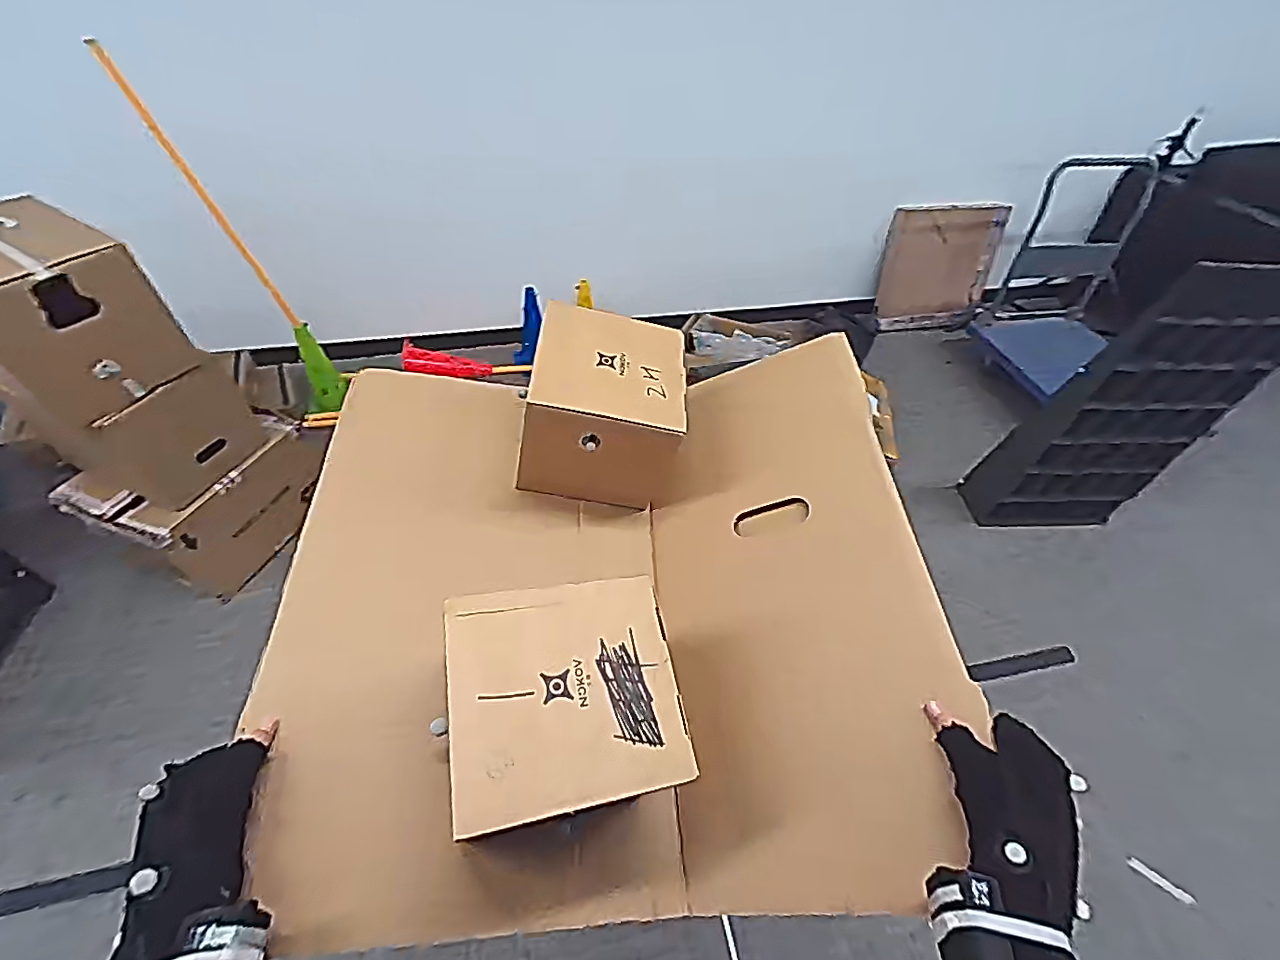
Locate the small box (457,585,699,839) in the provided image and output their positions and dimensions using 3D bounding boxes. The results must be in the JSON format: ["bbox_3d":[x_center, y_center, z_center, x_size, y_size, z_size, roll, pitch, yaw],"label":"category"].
[{"bbox_3d":[-0.071,0.207,0.488,0.179,0.176,0.168,-2,58,-18],"label":"small box"}]

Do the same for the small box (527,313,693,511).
[{"bbox_3d":[-0.042,-0.077,0.687,0.179,0.176,0.168,11,55,-11],"label":"small box"}]
